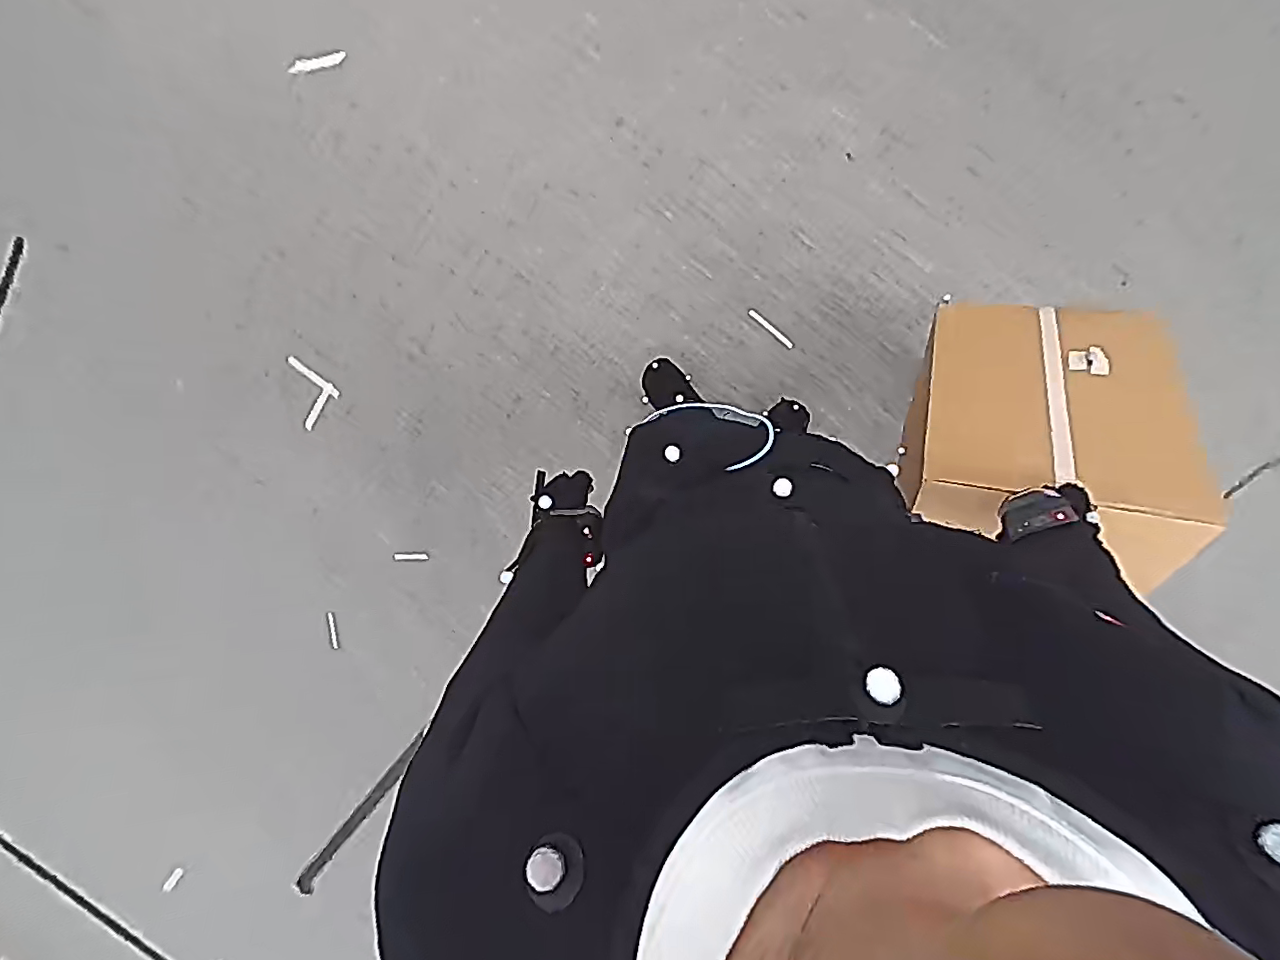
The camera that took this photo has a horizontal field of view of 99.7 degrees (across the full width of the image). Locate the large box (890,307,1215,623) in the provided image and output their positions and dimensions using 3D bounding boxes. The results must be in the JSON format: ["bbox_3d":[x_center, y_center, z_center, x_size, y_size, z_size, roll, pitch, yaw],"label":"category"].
[{"bbox_3d":[0.609,-0.034,0.895,0.320,0.408,0.320,10,143,19],"label":"large box"}]
